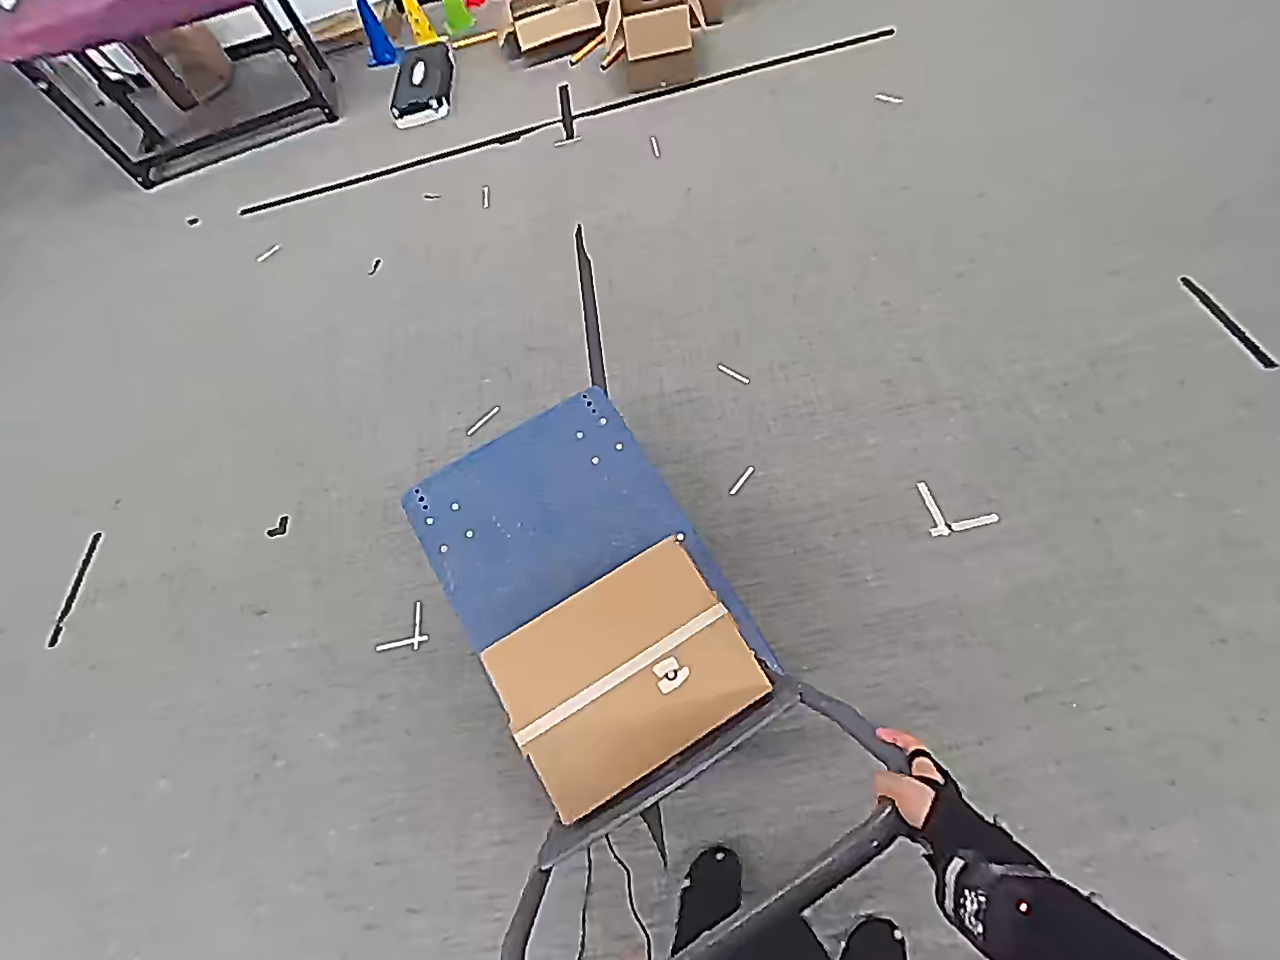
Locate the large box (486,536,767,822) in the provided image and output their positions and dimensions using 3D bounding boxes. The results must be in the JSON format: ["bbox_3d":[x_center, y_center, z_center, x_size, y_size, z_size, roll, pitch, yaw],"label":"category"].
[{"bbox_3d":[-0.023,0.371,1.076,0.408,0.320,0.320,-32,76,-8],"label":"large box"}]
